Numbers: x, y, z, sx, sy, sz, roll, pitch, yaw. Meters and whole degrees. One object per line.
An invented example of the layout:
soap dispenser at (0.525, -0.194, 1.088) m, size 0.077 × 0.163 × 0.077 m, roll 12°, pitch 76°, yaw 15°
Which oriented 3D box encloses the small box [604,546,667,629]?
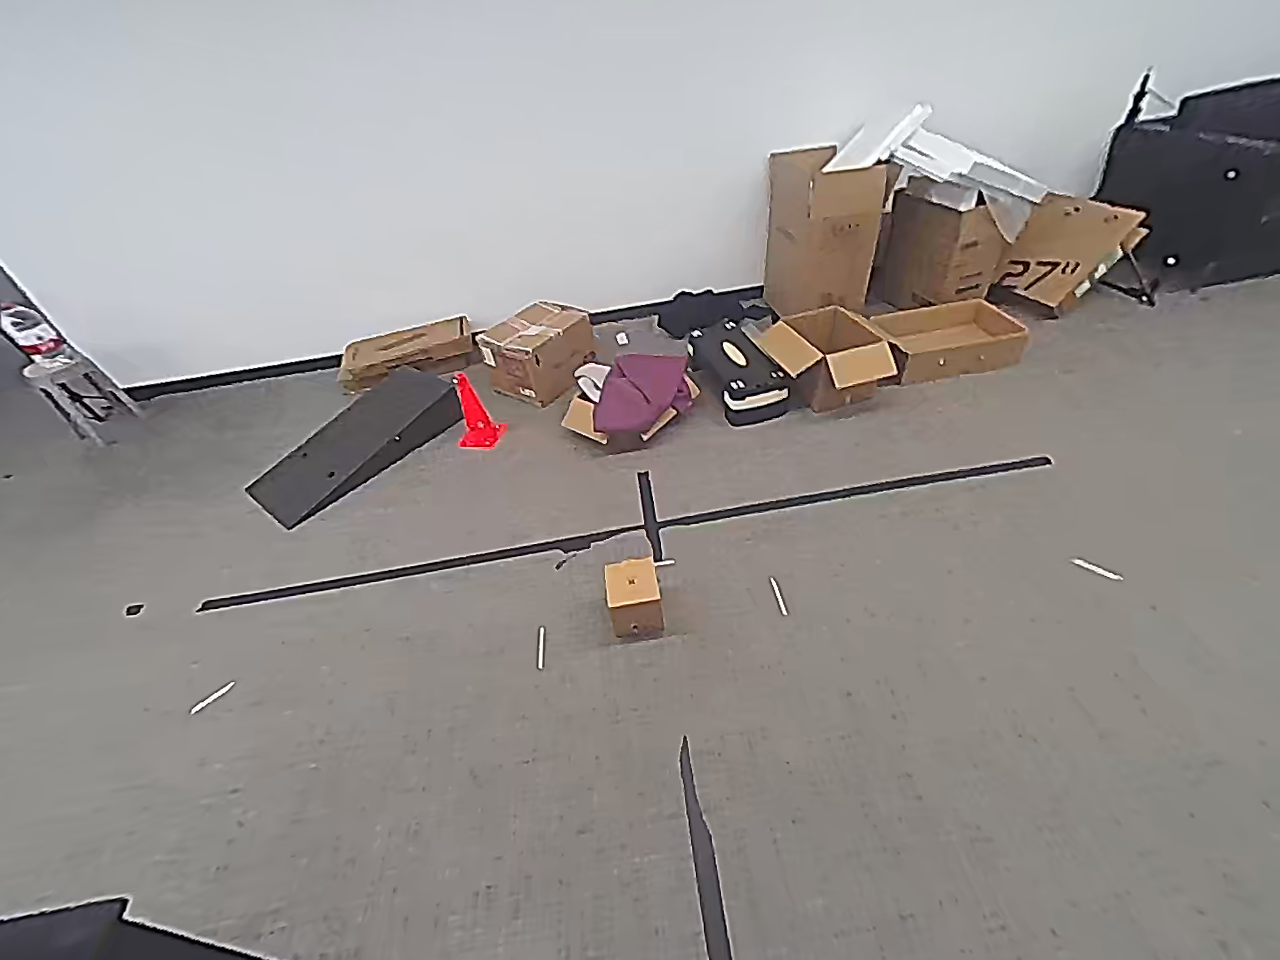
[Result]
small box at (-0.014, 0.336, 1.691) m, size 0.168 × 0.176 × 0.179 m, roll -11°, pitch 42°, yaw -1°
